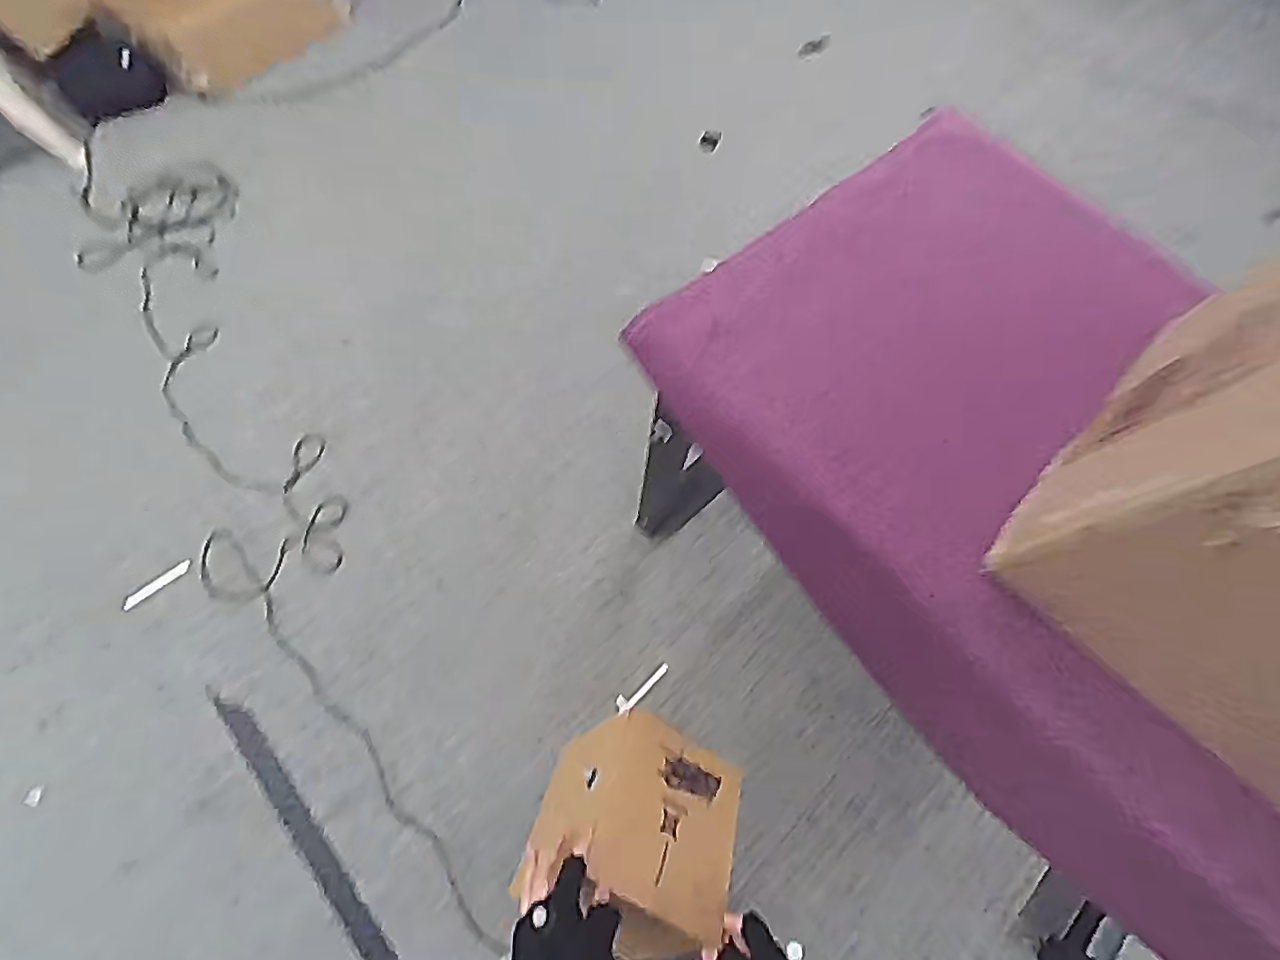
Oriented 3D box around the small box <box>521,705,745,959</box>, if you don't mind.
[{"bbox_3d":[-0.007,0.396,0.607,0.168,0.176,0.179,37,38,-9],"label":"small box"}]
